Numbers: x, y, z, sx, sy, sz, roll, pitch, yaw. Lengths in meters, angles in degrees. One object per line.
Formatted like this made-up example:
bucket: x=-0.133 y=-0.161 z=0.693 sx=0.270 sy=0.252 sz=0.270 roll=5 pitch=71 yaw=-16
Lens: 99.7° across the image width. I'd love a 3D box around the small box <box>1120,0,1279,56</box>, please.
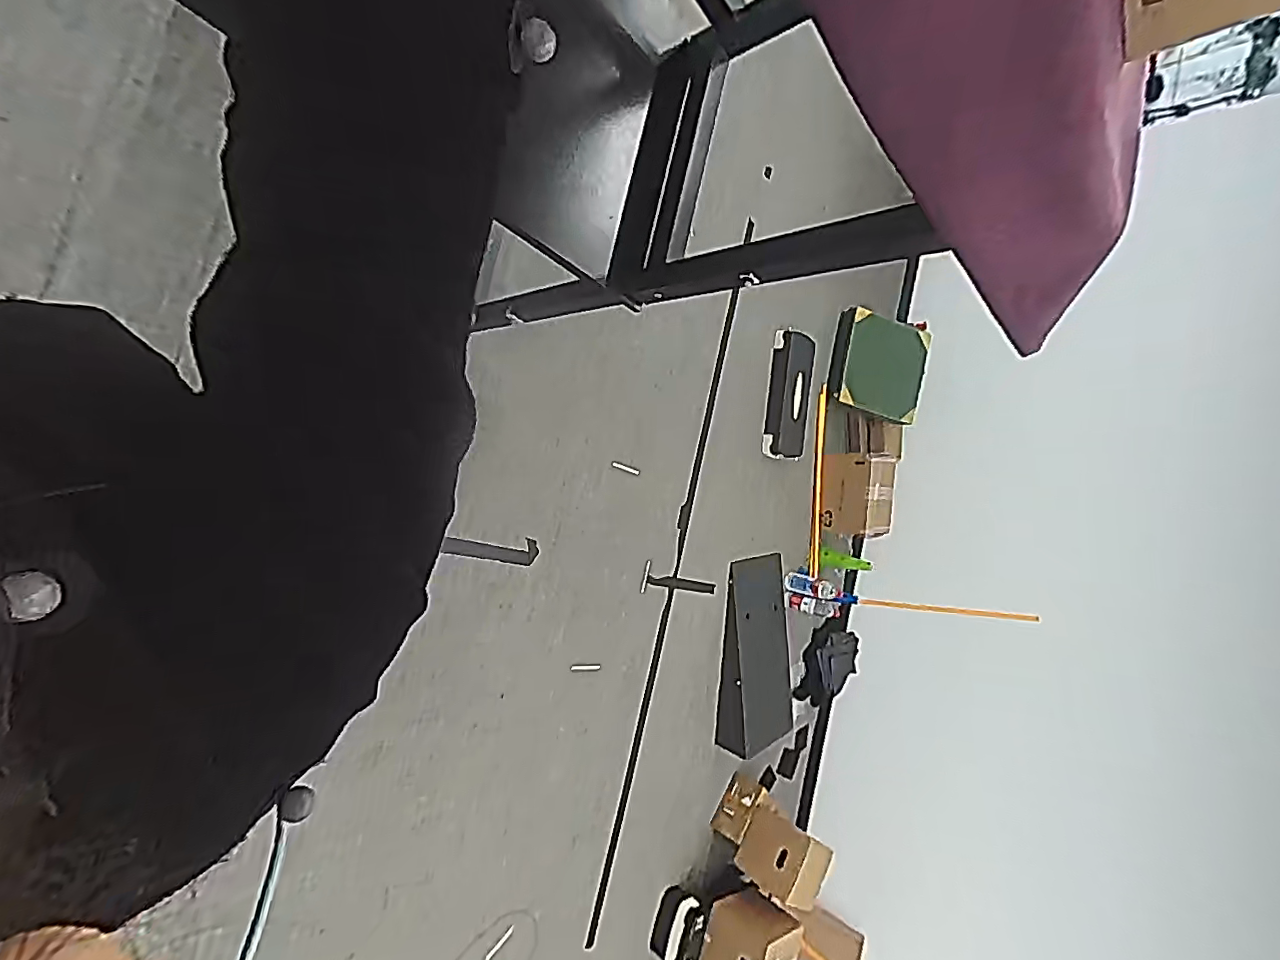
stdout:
small box: x=0.498 y=-0.499 z=0.422 sx=0.168 sy=0.176 sz=0.179 roll=24 pitch=78 yaw=-44
